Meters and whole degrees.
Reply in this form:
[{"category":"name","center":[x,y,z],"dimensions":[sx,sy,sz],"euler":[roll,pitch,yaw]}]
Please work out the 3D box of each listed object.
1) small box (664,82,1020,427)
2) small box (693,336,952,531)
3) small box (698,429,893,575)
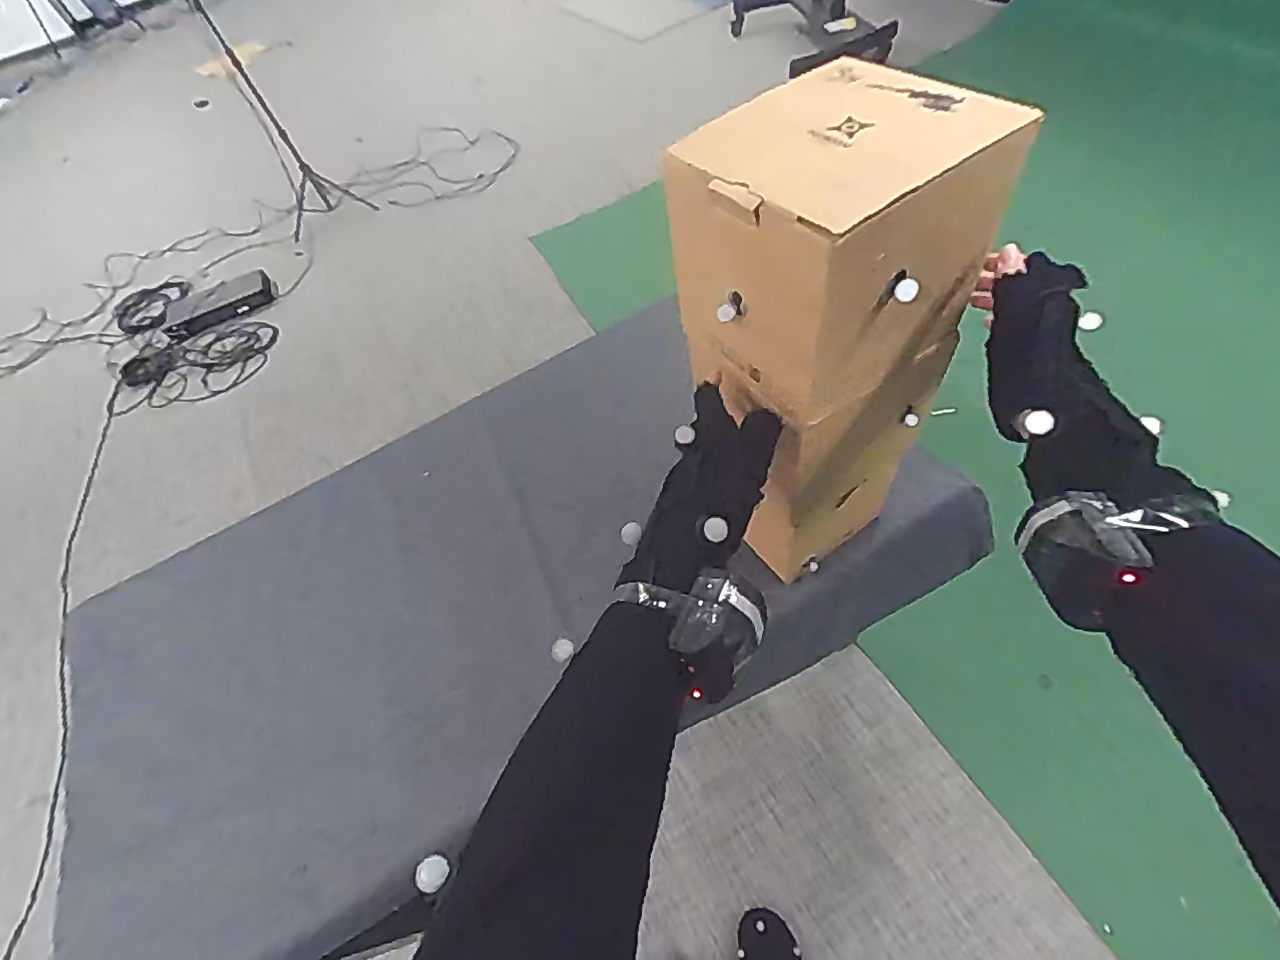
[{"category":"small box","center":[0.145,-0.175,0.435],"dimensions":[0.179,0.176,0.168],"euler":[-33,56,-11]},{"category":"small box","center":[0.176,-0.081,0.566],"dimensions":[0.179,0.176,0.168],"euler":[-32,56,-10]},{"category":"small box","center":[0.197,0.001,0.703],"dimensions":[0.168,0.176,0.179],"euler":[-33,56,-12]}]
